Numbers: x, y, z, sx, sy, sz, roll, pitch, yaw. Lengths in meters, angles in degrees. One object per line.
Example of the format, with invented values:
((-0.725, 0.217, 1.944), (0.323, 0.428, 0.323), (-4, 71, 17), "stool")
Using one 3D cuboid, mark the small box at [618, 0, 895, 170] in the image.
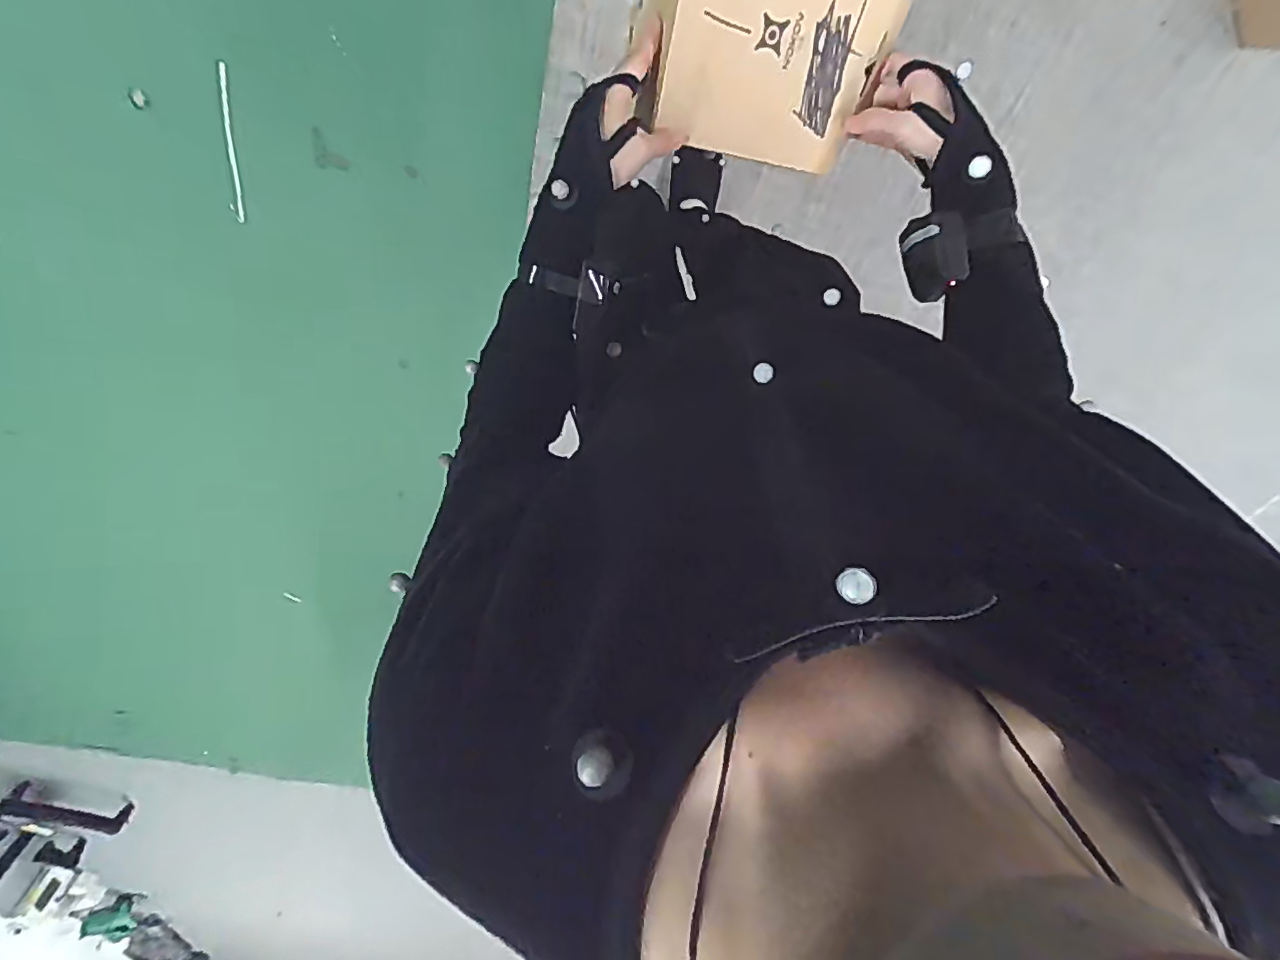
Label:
((0.090, -0.395, 0.473), (0.179, 0.176, 0.168), (2, 129, -16), "small box")
